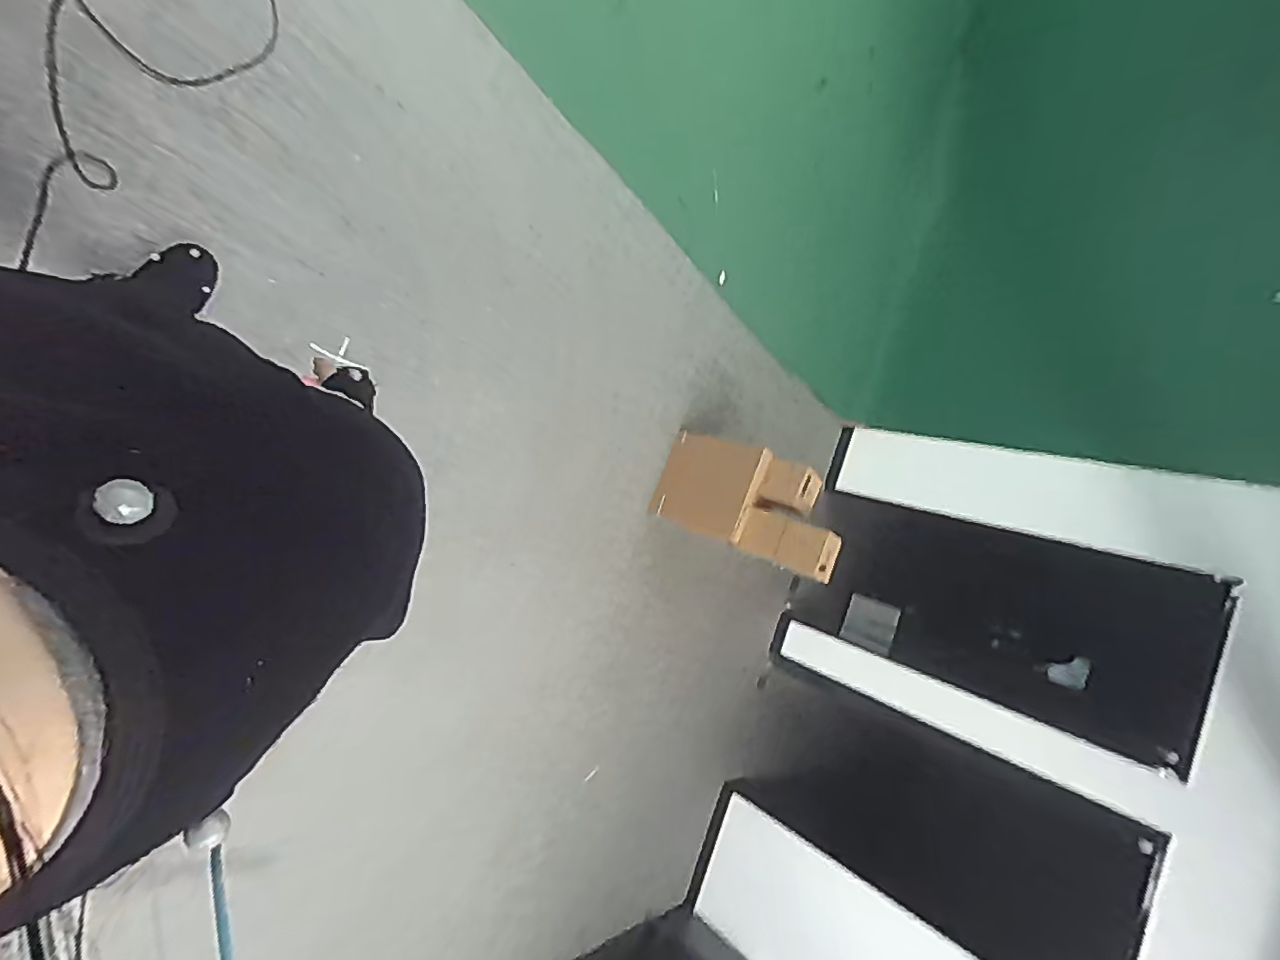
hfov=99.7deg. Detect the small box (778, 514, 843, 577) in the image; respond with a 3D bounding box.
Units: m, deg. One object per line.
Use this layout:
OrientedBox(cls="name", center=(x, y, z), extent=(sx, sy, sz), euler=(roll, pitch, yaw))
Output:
OrientedBox(cls="small box", center=(0.651, 0.251, 2.079), extent=(0.168, 0.176, 0.179), euler=(29, 80, -48))
